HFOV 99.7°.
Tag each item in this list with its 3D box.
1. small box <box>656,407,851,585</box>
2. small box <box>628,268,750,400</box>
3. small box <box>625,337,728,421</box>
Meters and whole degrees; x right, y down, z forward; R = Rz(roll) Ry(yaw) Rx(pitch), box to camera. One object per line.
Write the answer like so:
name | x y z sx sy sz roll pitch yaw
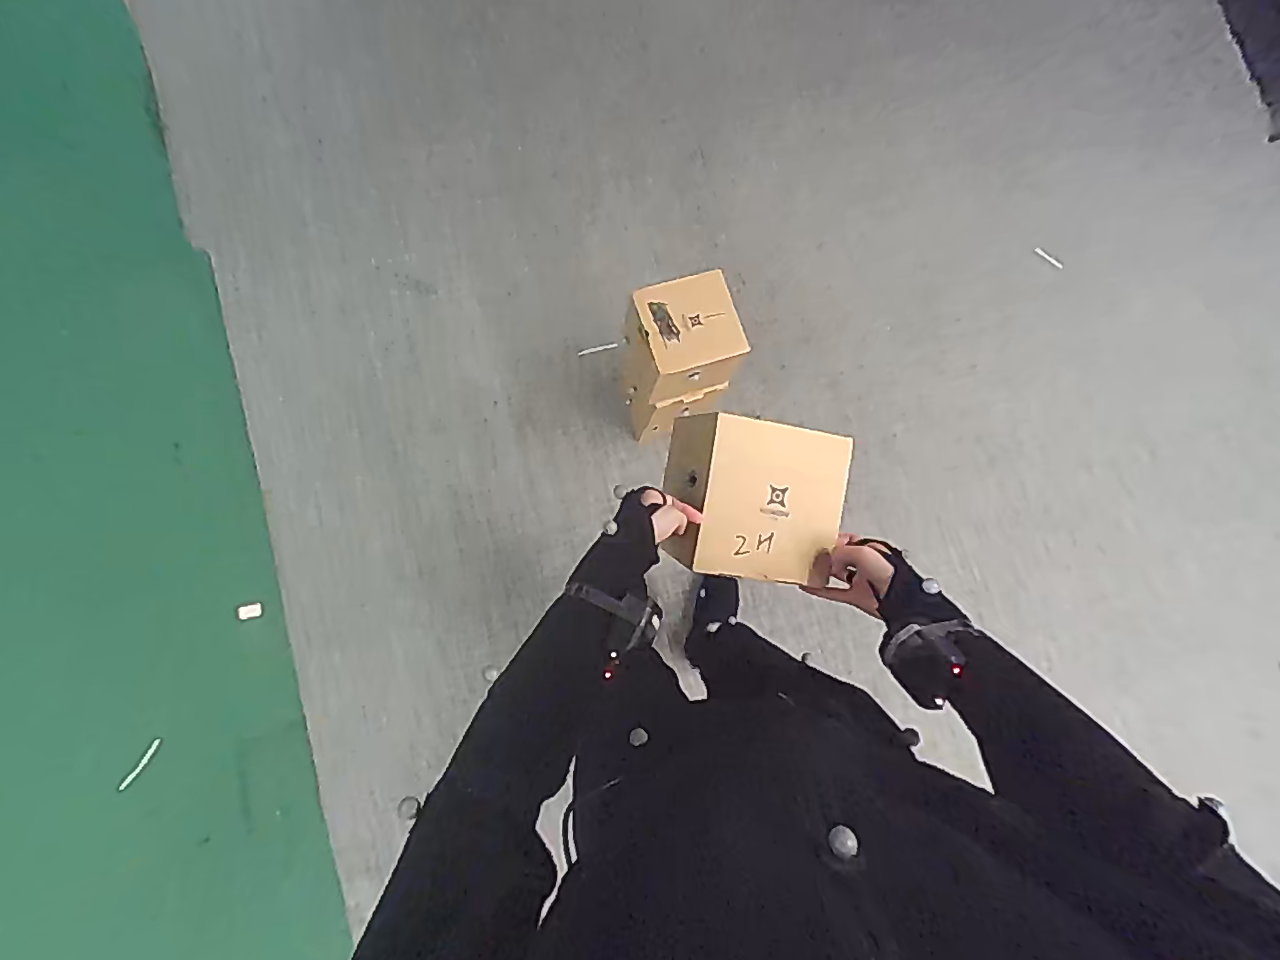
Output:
small box | 0.126 0.015 0.664 0.168 0.176 0.179 9 92 -13
small box | 0.081 -0.268 1.027 0.179 0.176 0.168 -17 83 -9
small box | 0.073 -0.239 1.189 0.168 0.176 0.179 -18 84 -9
